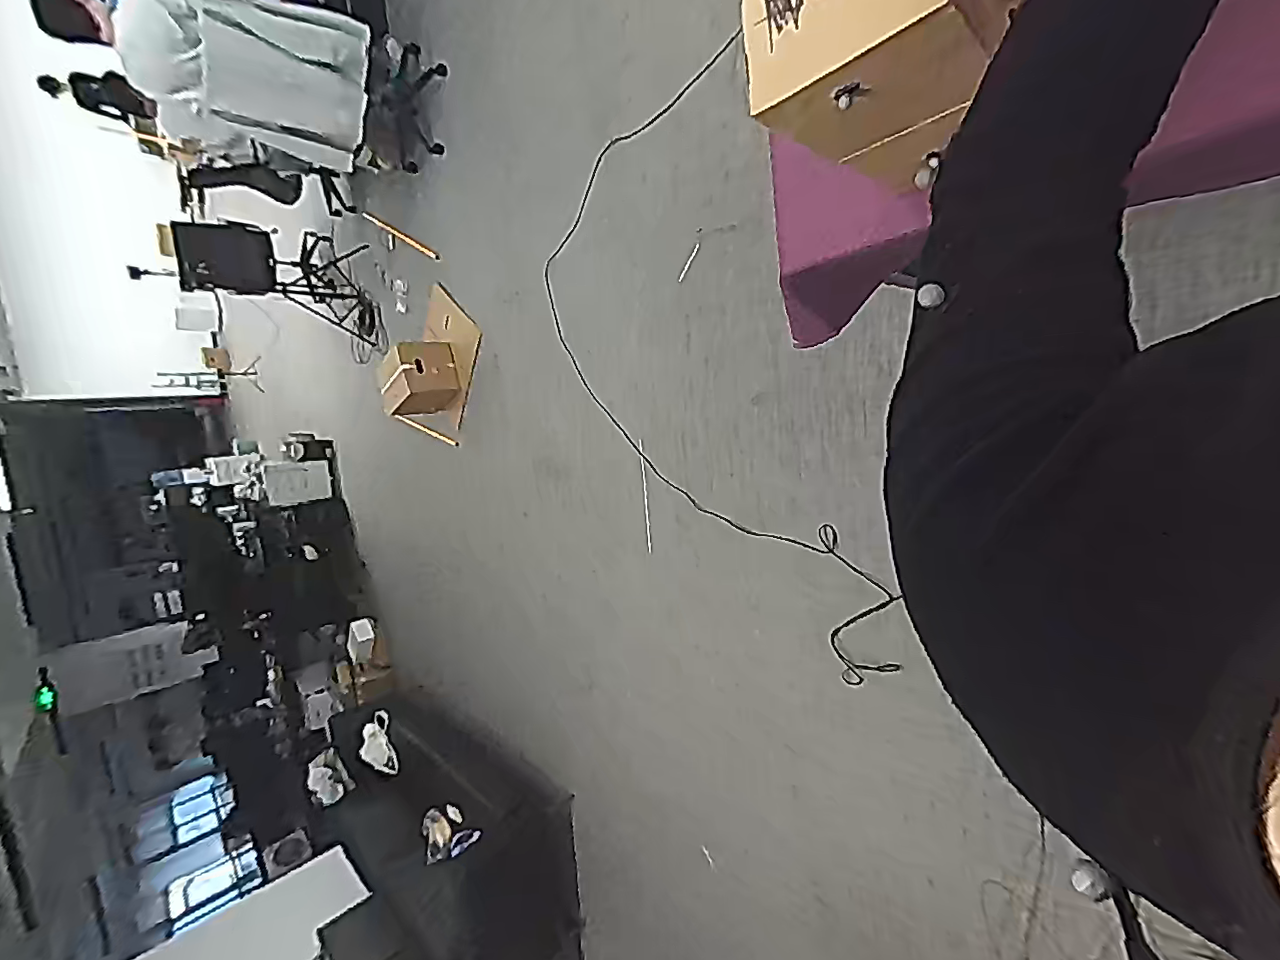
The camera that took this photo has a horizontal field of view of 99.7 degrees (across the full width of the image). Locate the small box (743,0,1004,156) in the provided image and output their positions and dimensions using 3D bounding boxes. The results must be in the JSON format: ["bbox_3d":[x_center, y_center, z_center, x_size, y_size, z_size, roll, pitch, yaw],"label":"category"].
[{"bbox_3d":[0.217,-0.440,0.507,0.179,0.176,0.168,0,98,45],"label":"small box"}]

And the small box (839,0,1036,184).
[{"bbox_3d":[0.337,-0.464,0.618,0.168,0.176,0.179,0,98,46],"label":"small box"}]
